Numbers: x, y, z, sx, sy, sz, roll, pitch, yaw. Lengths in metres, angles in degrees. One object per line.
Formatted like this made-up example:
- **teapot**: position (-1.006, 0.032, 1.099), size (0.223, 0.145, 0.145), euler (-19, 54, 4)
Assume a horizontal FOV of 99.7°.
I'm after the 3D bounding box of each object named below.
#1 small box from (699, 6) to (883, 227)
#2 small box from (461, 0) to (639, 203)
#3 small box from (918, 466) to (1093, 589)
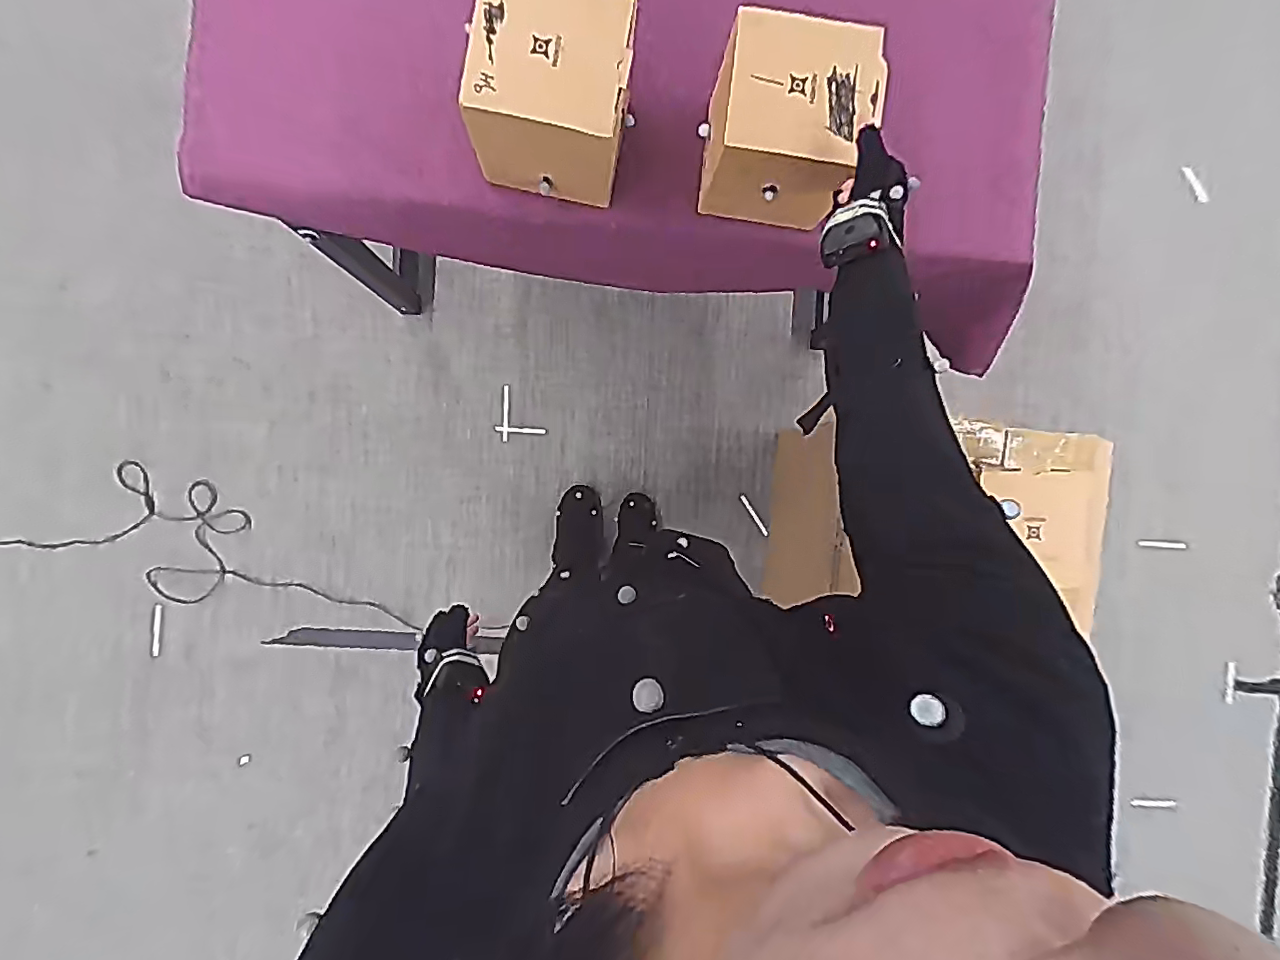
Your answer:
- **small box**: position (0.185, -0.456, 0.709), size (0.179, 0.176, 0.168), euler (7, 89, -4)
- **small box**: position (-0.107, -0.481, 0.686), size (0.179, 0.176, 0.168), euler (10, 89, -5)
- **small box**: position (0.561, 0.067, 0.852), size (0.168, 0.176, 0.179), euler (0, 92, -2)
